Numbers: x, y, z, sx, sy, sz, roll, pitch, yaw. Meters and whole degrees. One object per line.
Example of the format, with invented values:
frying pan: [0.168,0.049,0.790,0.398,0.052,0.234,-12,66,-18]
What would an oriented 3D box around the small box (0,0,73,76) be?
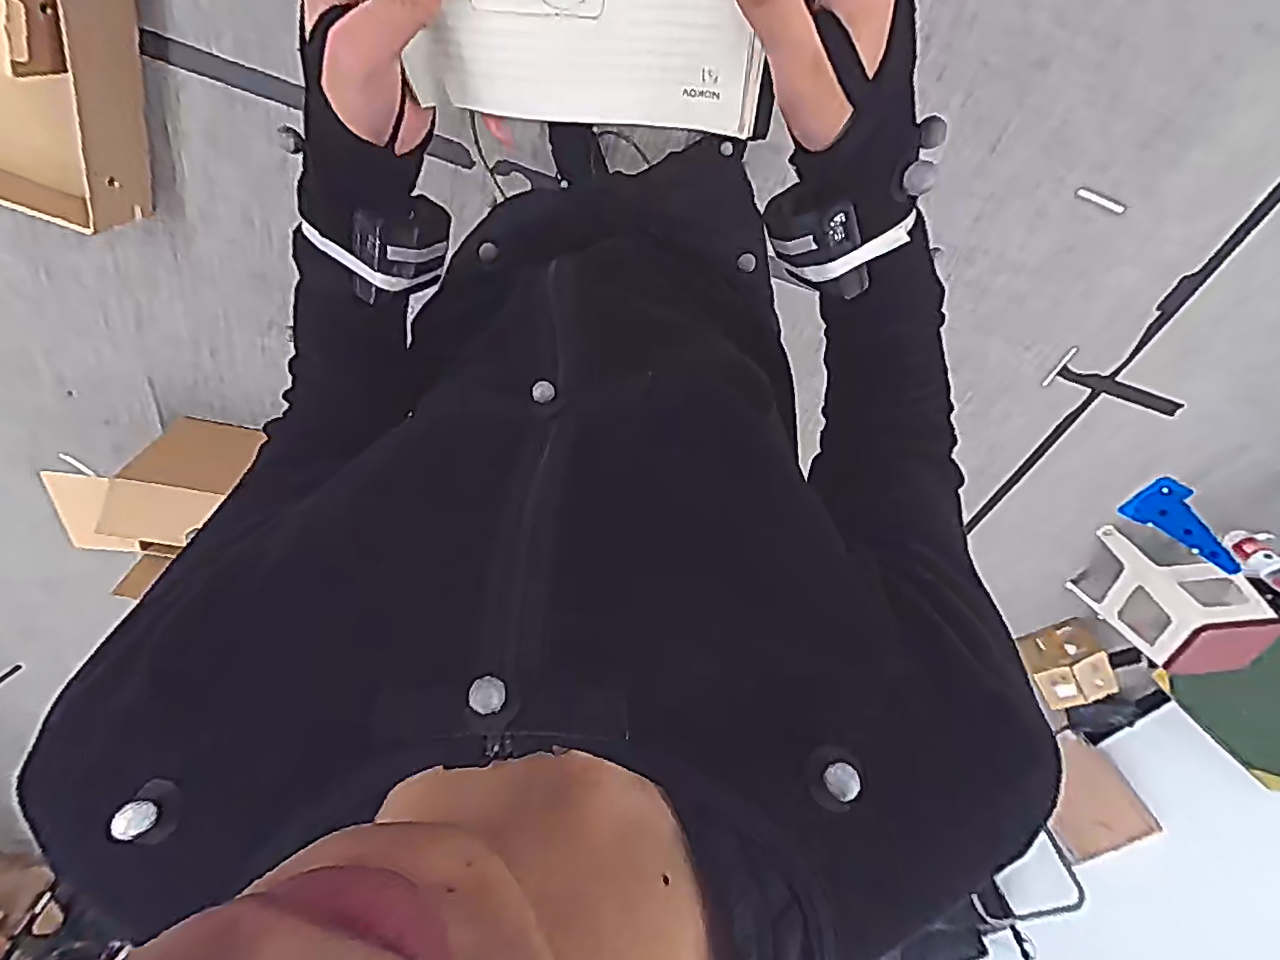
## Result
small box: [-1.179,-0.873,0.970,0.179,0.176,0.168,24,124,-21]
